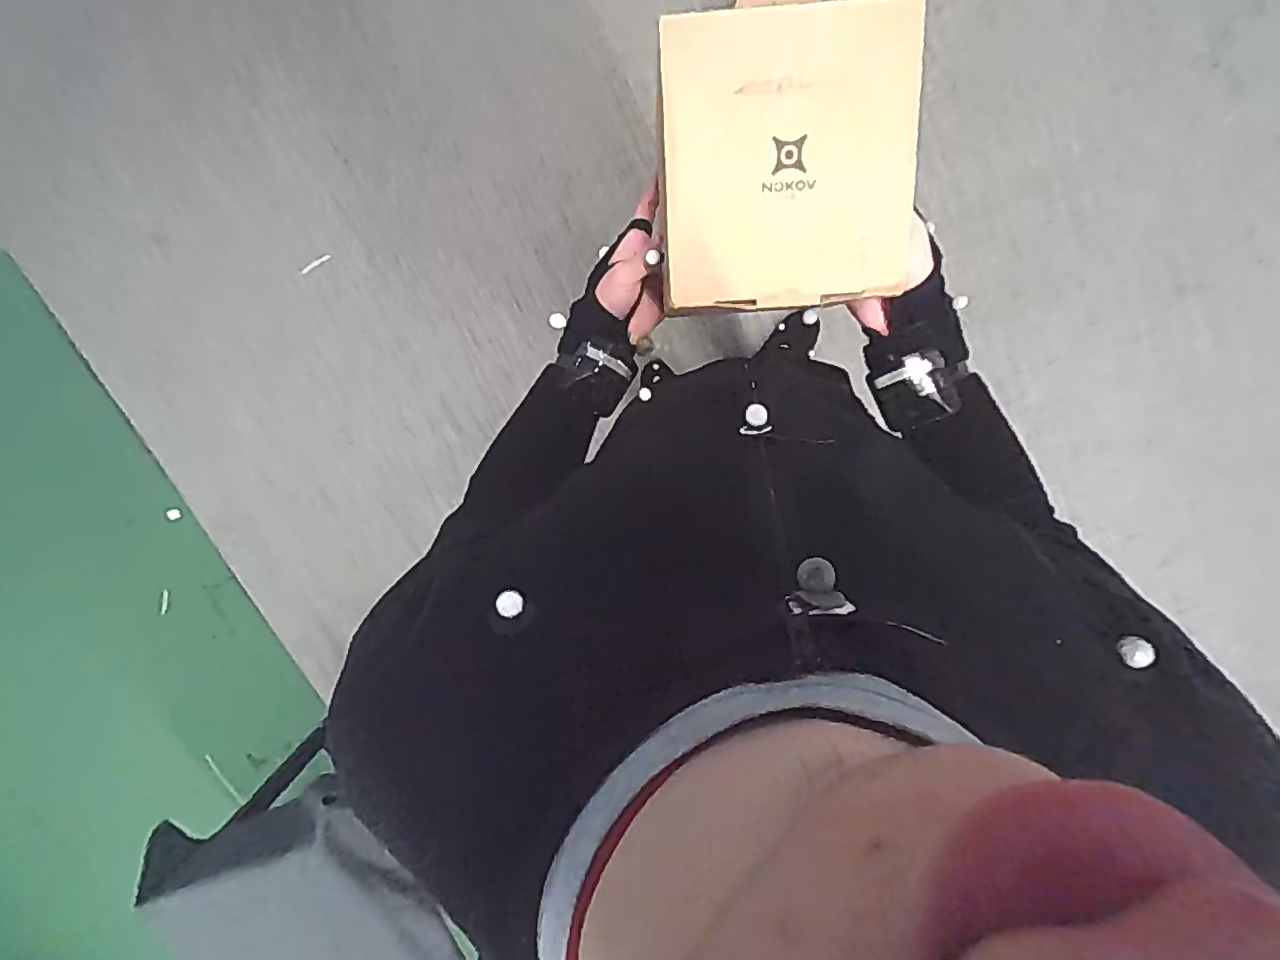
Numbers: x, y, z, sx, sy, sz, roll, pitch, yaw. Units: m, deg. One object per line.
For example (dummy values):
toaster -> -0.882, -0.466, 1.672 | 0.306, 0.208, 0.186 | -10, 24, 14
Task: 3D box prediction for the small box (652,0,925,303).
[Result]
small box -> 0.095, -0.235, 0.426 | 0.168, 0.176, 0.179 | -4, 105, 1
